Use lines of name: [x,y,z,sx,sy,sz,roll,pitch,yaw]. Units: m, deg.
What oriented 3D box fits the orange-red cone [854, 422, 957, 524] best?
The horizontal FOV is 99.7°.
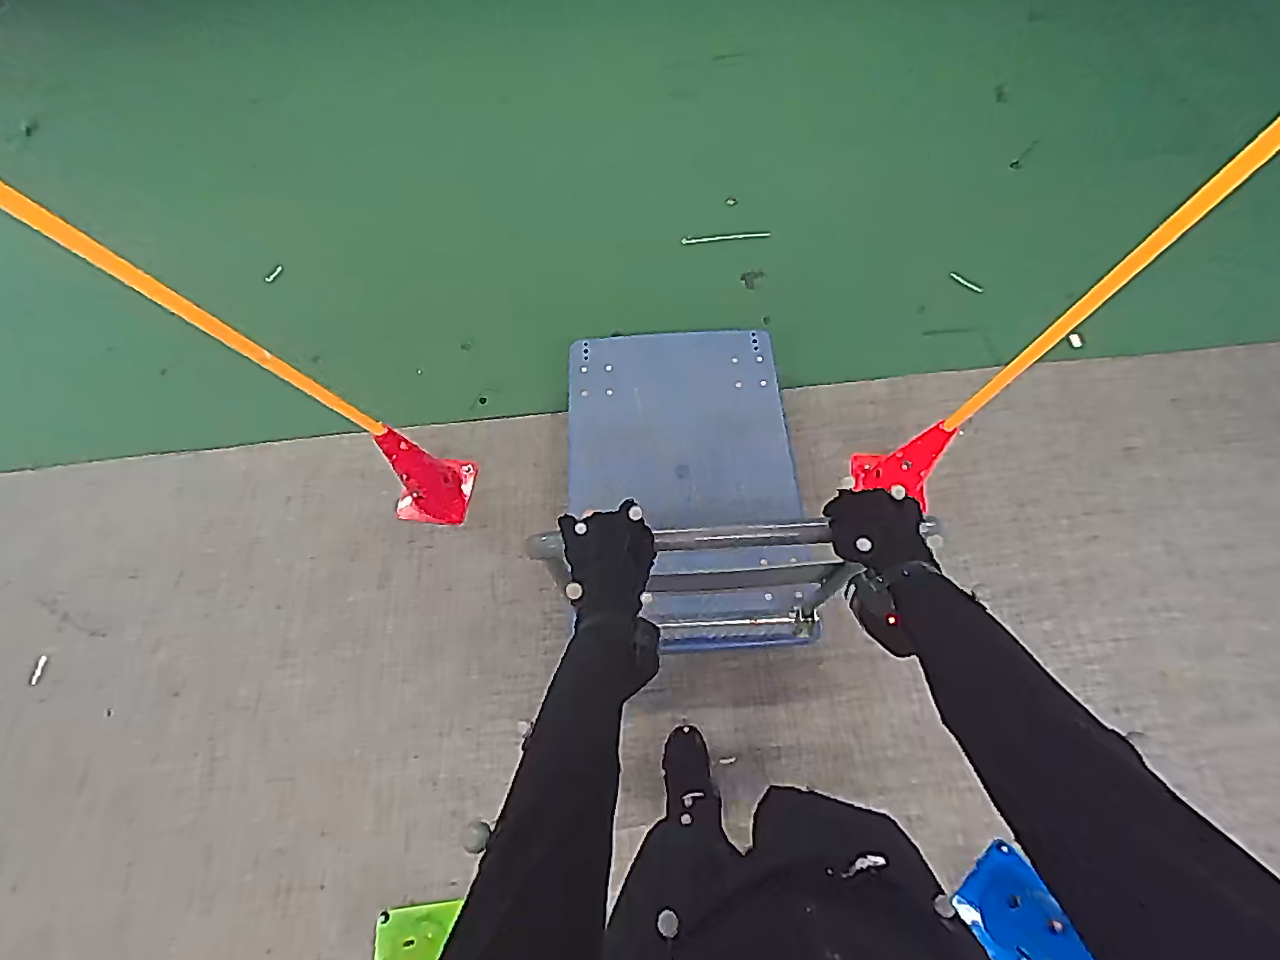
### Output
orange-red cone: [0.700,-0.043,1.371,0.198,0.360,0.199,4,67,4]
